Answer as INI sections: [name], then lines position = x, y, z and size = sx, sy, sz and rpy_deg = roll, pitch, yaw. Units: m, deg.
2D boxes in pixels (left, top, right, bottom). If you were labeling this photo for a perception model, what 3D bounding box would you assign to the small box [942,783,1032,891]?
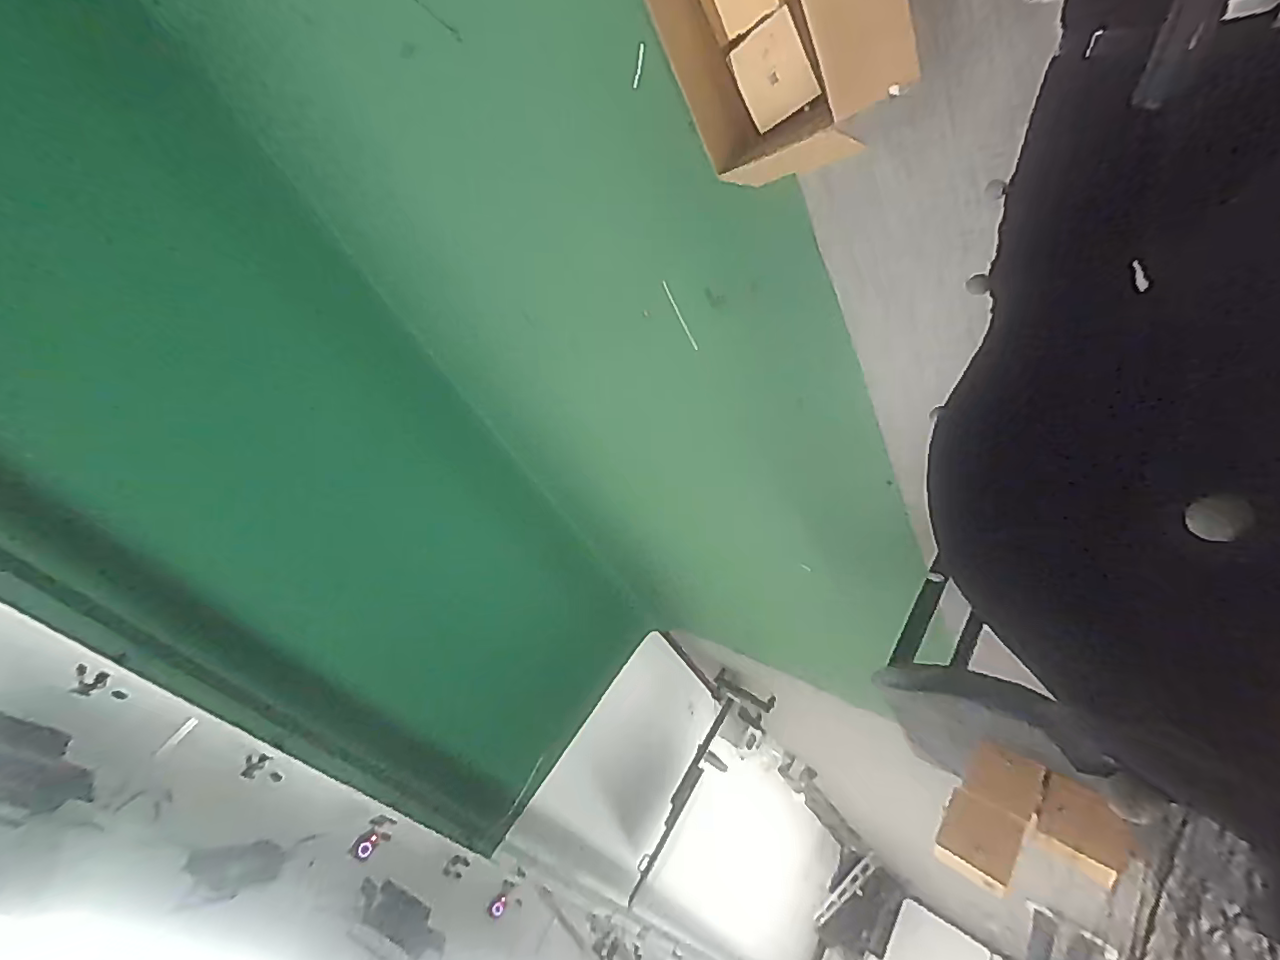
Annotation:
[small box]
position = 0.963, 0.987, 1.503
size = 0.179, 0.176, 0.168
rpy_deg = 18, 148, 40
